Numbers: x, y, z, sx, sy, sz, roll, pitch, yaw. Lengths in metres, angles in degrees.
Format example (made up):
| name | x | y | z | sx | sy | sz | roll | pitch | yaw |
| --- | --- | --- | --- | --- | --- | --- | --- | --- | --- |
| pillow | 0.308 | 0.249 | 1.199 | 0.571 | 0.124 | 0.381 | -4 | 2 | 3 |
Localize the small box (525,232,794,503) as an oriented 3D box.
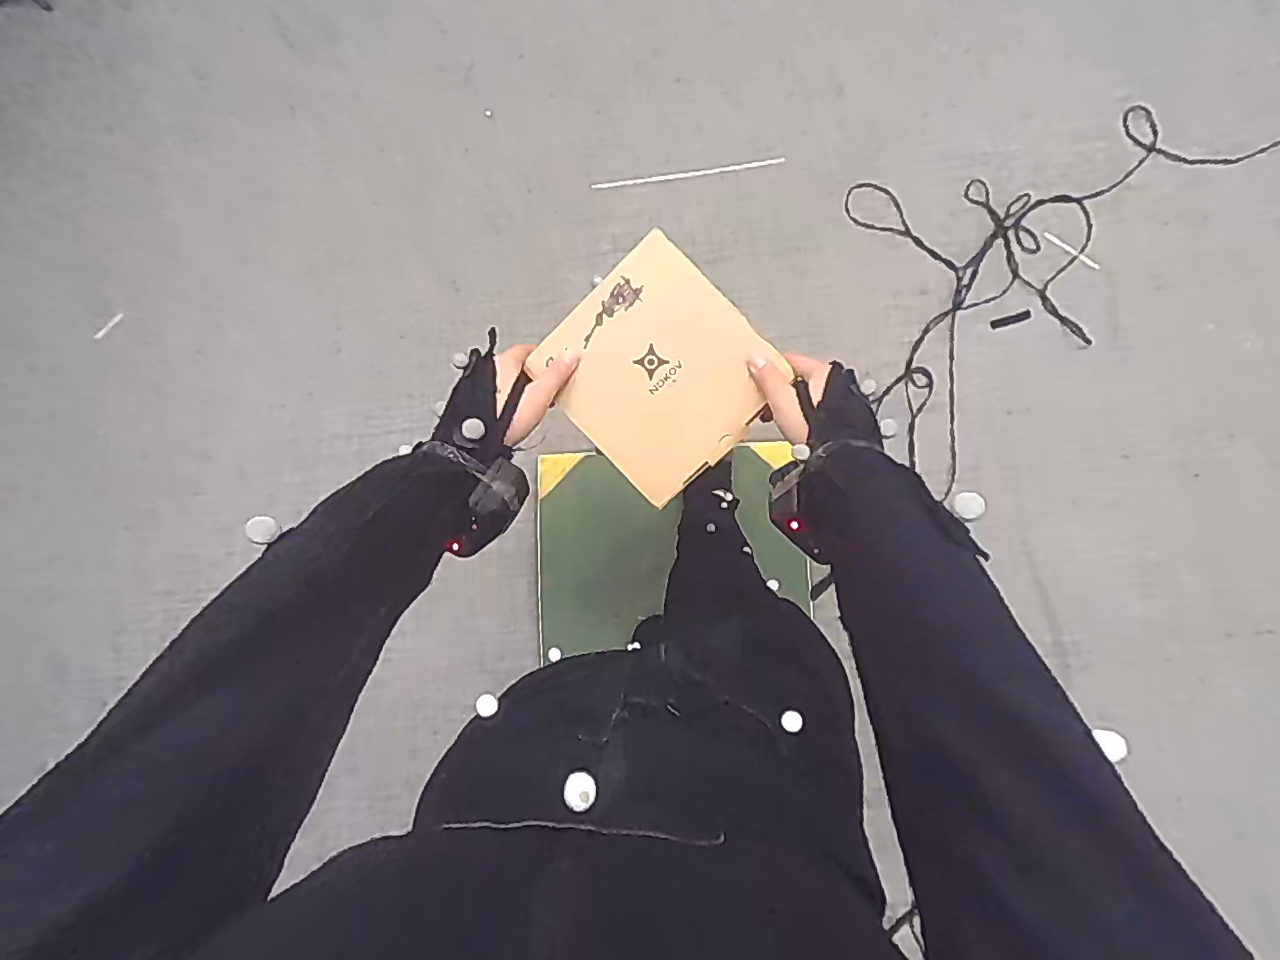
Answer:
| name | x | y | z | sx | sy | sz | roll | pitch | yaw |
| --- | --- | --- | --- | --- | --- | --- | --- | --- | --- |
| small box | 0.021 | -0.101 | 0.543 | 0.168 | 0.176 | 0.179 | -44 | 90 | 4 |
